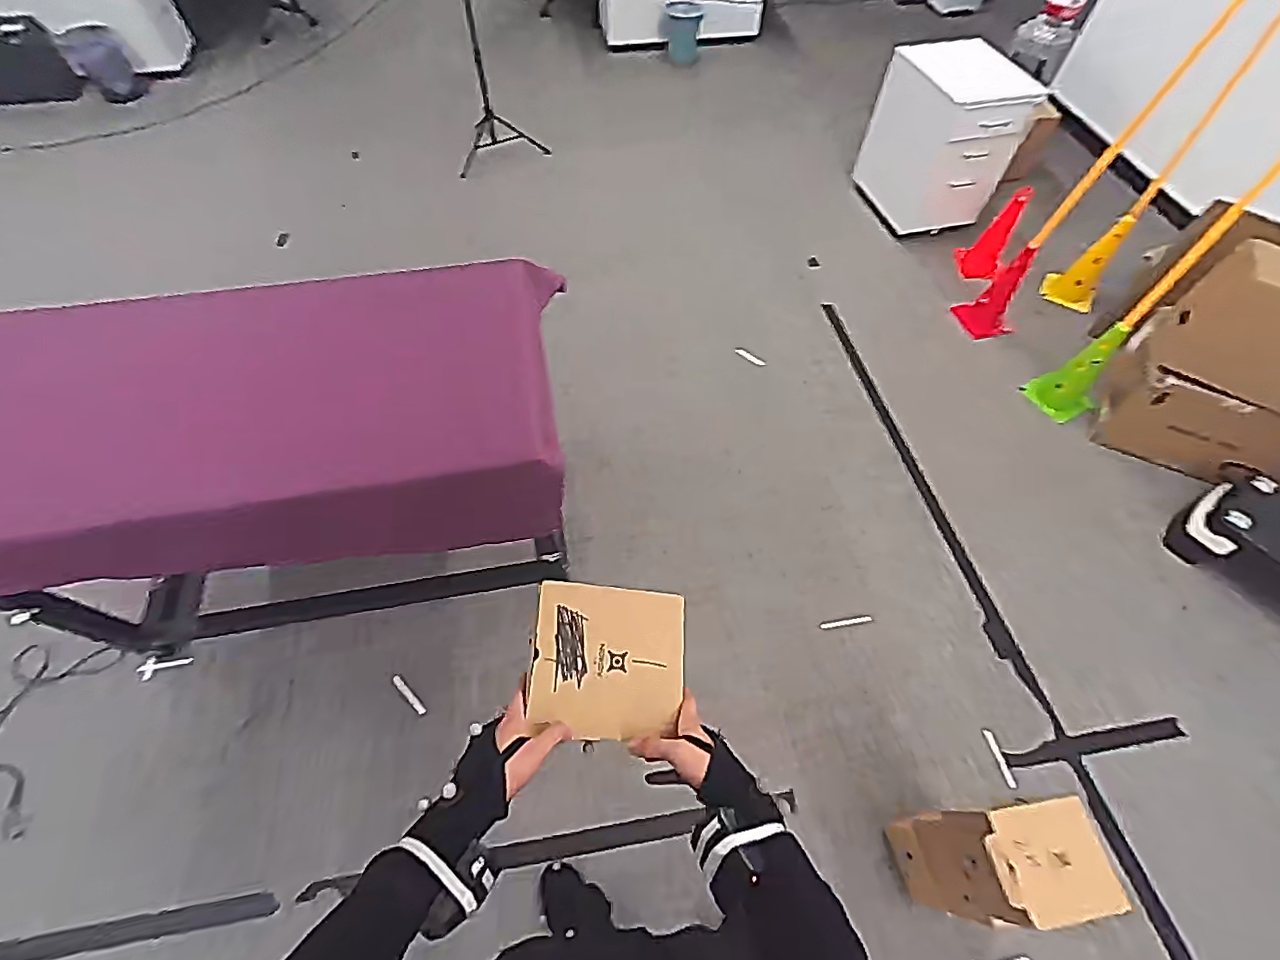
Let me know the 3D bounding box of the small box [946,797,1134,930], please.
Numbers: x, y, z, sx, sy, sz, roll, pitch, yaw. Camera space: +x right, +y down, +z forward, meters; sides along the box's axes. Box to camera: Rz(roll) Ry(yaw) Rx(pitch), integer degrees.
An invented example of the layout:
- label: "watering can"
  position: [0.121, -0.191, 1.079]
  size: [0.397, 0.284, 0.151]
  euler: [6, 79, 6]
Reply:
- label: "small box"
  position: [0.699, 0.674, 0.970]
  size: [0.179, 0.176, 0.168]
  euler: [-7, 59, -5]

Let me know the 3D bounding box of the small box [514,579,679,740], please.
- label: "small box"
  position: [-0.055, 0.231, 0.676]
  size: [0.179, 0.176, 0.168]
  euler: [7, 65, -9]

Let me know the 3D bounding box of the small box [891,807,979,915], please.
- label: "small box"
  position: [0.706, 0.865, 1.240]
  size: [0.179, 0.176, 0.168]
  euler: [-11, 60, -8]
